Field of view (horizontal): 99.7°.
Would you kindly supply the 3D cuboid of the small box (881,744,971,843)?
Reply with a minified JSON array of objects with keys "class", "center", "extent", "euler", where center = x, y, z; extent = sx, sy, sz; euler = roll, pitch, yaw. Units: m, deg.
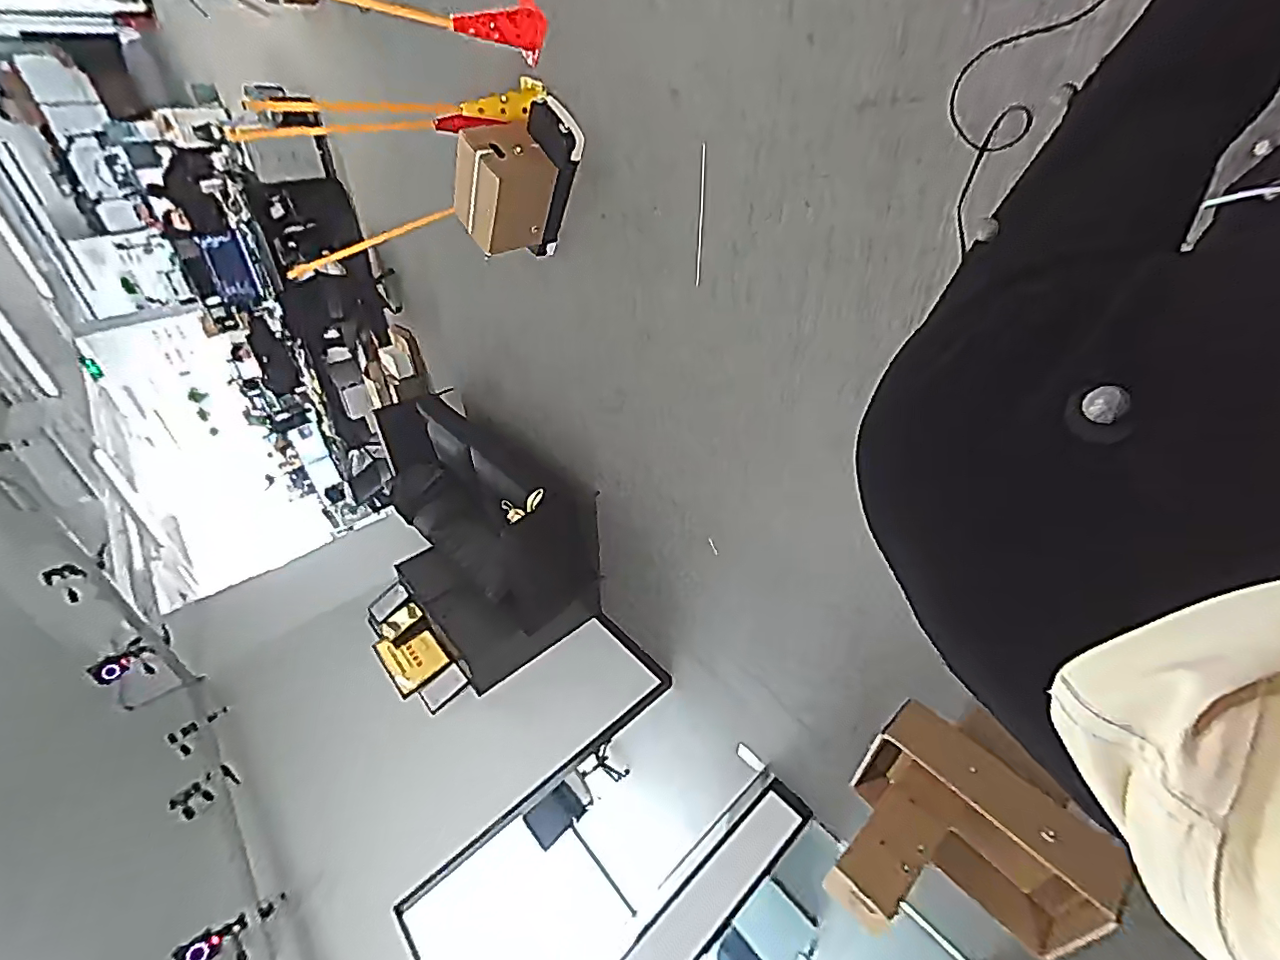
[{"class":"small box","center":[0.885,0.964,1.670],"extent":[0.168,0.176,0.179],"euler":[37,140,35]}]

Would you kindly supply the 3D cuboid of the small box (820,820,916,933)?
[{"class":"small box","center":[0.634,1.091,1.499],"extent":[0.168,0.176,0.179],"euler":[36,141,36]}]
